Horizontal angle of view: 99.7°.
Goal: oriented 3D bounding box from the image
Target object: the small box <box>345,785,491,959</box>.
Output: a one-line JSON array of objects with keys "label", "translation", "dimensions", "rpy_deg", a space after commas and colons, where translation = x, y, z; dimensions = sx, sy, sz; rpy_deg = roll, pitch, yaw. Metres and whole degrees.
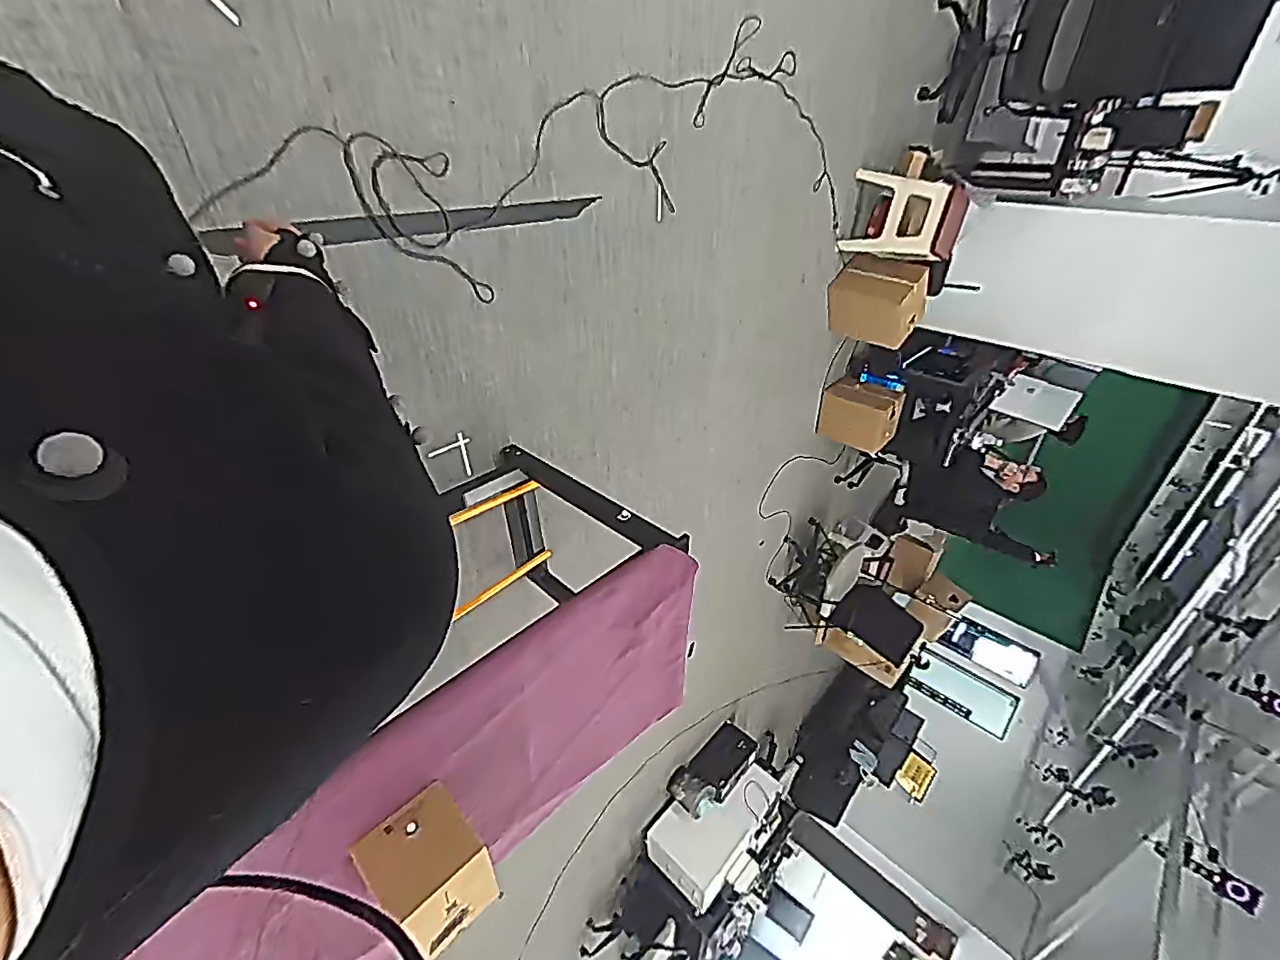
[{"label": "small box", "translation": [-0.387, 0.687, 0.953], "dimensions": [0.168, 0.176, 0.179], "rpy_deg": [-29, 132, -39]}]
